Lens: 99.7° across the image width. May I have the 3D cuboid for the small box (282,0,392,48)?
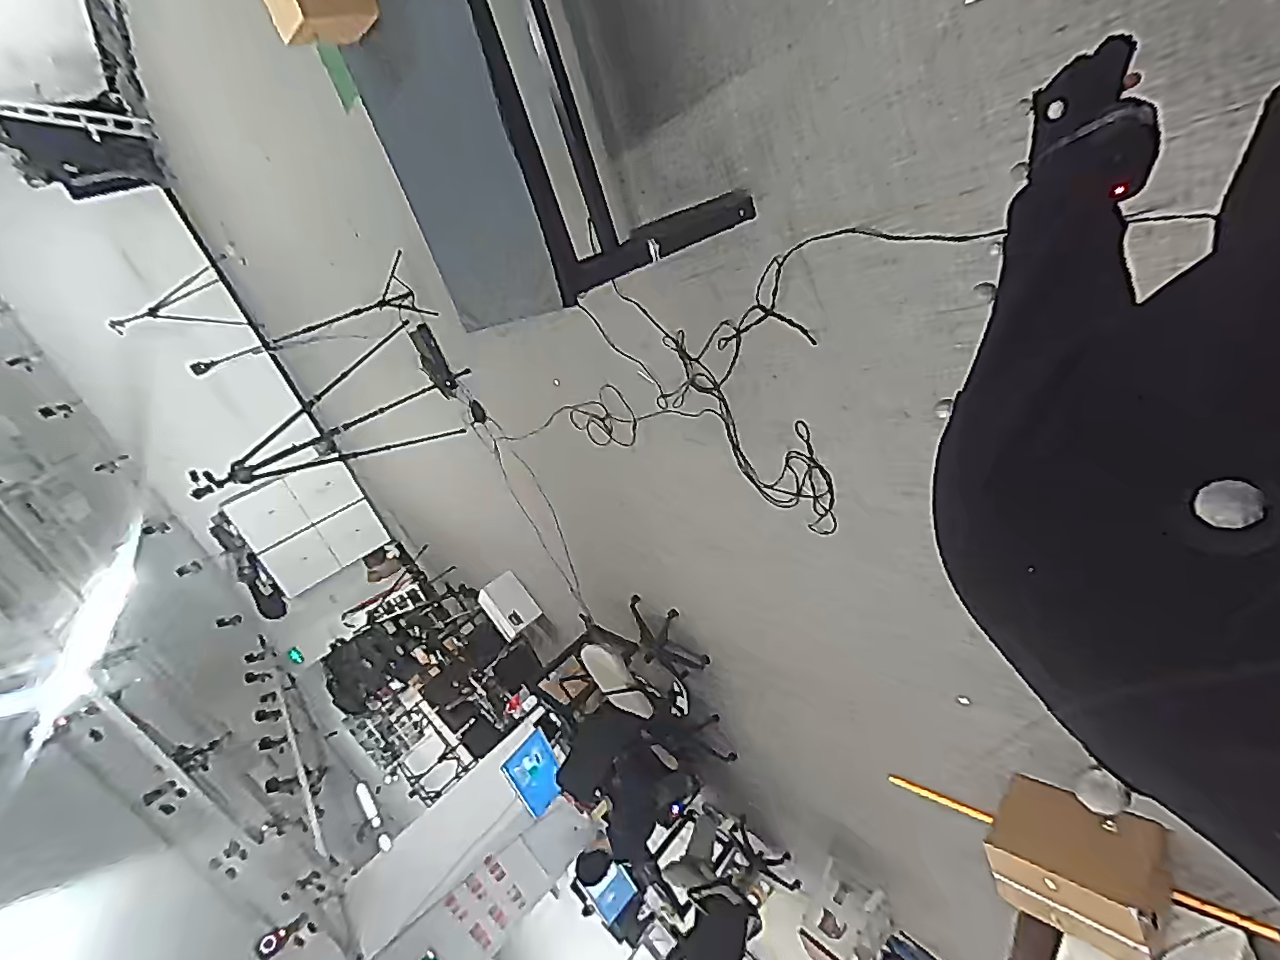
[{"bbox_3d":[-0.665,-1.059,1.162,0.179,0.176,0.168,18,133,45],"label":"small box"}]
